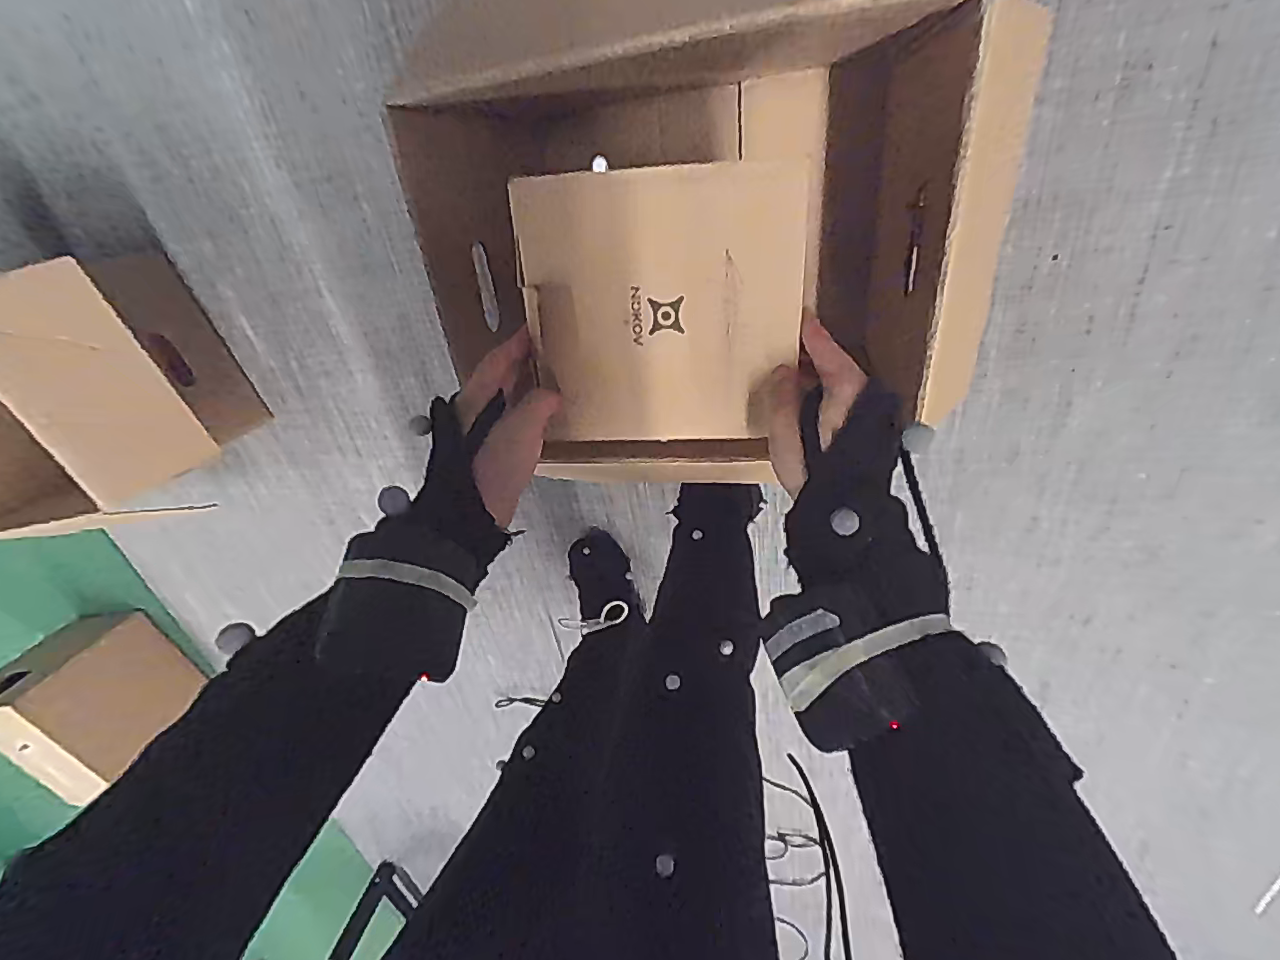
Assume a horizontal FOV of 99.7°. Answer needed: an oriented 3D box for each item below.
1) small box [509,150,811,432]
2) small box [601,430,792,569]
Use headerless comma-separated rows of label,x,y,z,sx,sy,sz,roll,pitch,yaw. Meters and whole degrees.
small box,0.020,-0.140,0.411,0.179,0.176,0.168,-1,115,6
small box,0.076,0.010,0.745,0.179,0.168,0.176,31,148,-18
